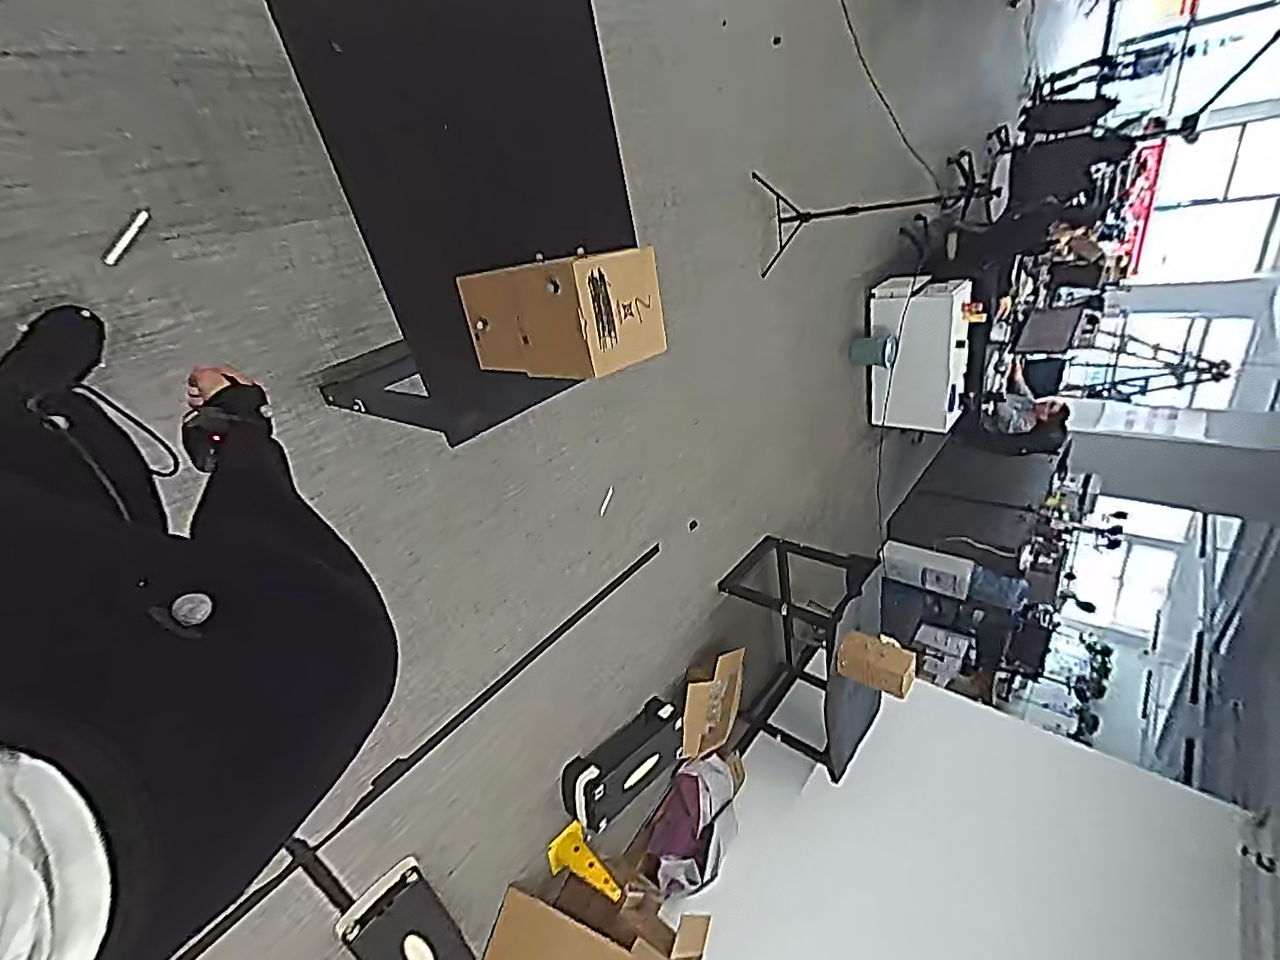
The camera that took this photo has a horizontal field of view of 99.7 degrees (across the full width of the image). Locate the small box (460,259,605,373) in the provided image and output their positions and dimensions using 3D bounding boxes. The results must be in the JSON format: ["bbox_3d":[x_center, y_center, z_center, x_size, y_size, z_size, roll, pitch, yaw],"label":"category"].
[{"bbox_3d":[-0.193,-0.300,0.984,0.179,0.176,0.168,-31,121,-39],"label":"small box"}]
